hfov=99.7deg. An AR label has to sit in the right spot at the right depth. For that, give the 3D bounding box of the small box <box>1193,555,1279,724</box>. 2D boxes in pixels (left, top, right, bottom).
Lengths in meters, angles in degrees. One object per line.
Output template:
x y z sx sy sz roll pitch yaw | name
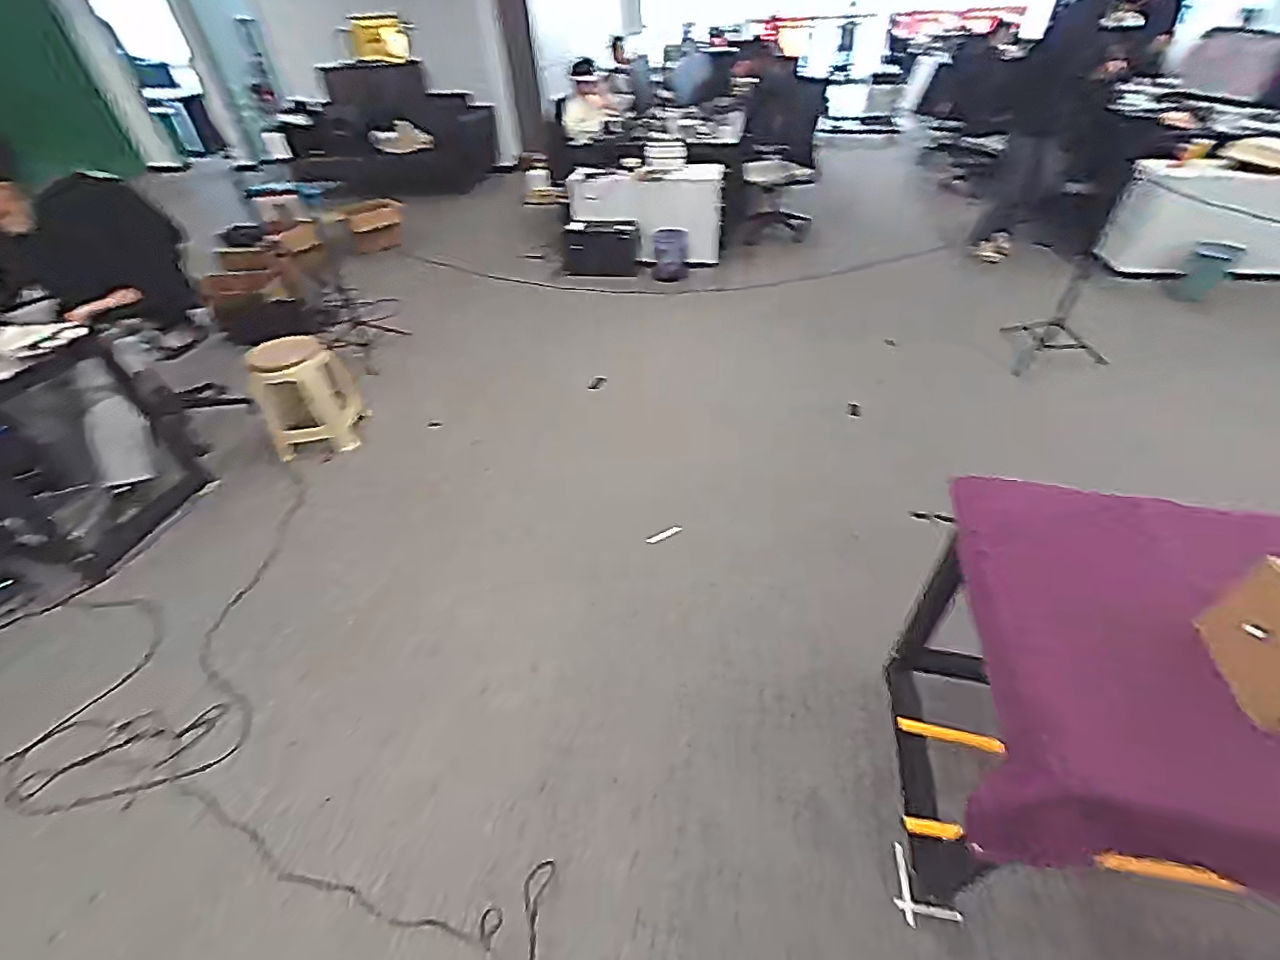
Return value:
0.936 0.233 0.738 0.168 0.176 0.179 8 42 12 | small box
